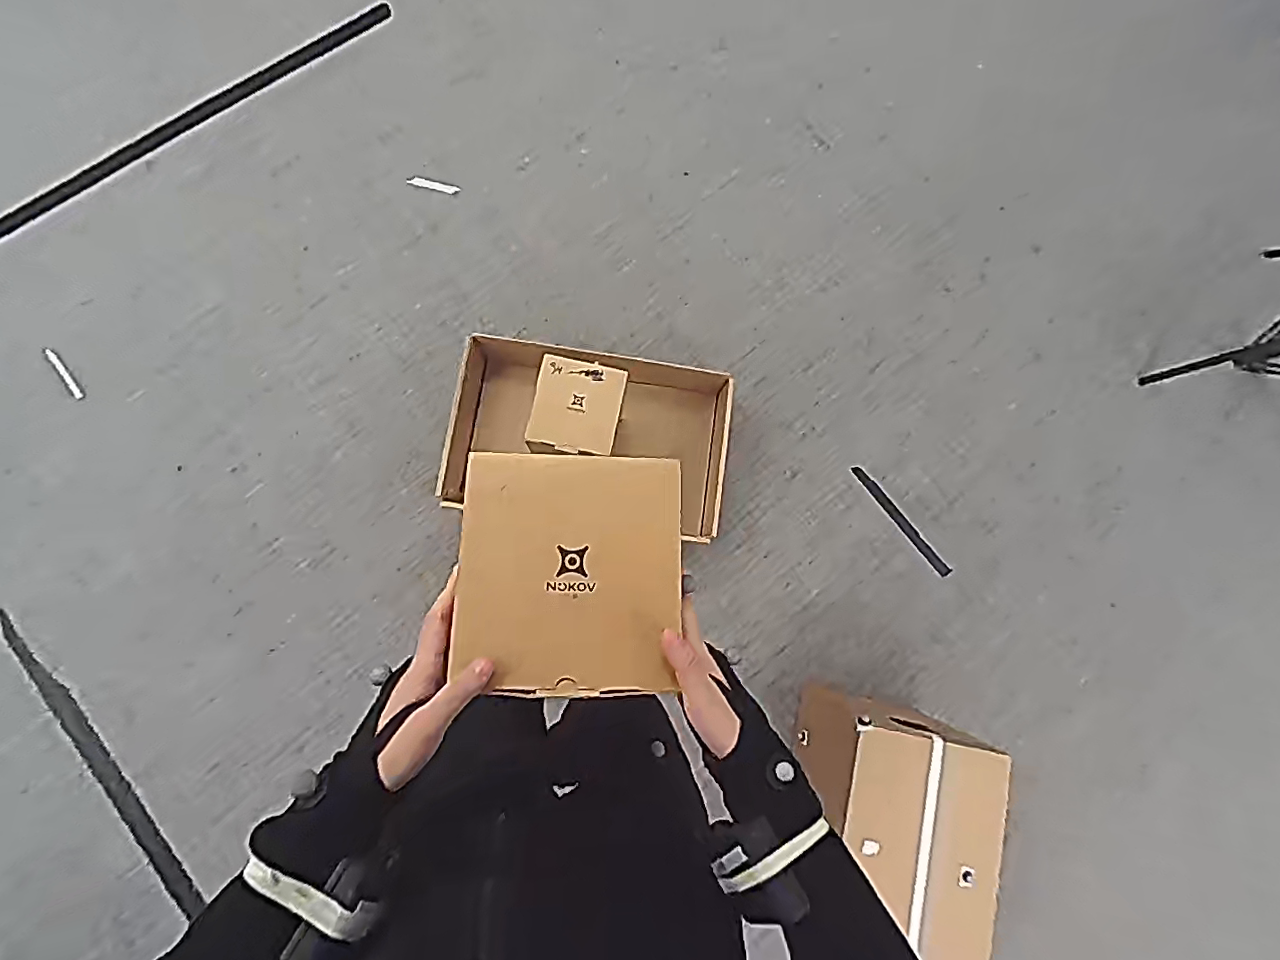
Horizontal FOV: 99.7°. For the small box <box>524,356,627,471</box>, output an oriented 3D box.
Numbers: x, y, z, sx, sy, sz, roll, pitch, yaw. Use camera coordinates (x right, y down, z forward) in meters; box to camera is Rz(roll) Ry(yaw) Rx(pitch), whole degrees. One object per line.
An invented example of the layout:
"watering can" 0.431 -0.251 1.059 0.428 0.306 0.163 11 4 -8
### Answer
"small box" -0.125 -0.125 1.099 0.168 0.176 0.179 12 81 -3
